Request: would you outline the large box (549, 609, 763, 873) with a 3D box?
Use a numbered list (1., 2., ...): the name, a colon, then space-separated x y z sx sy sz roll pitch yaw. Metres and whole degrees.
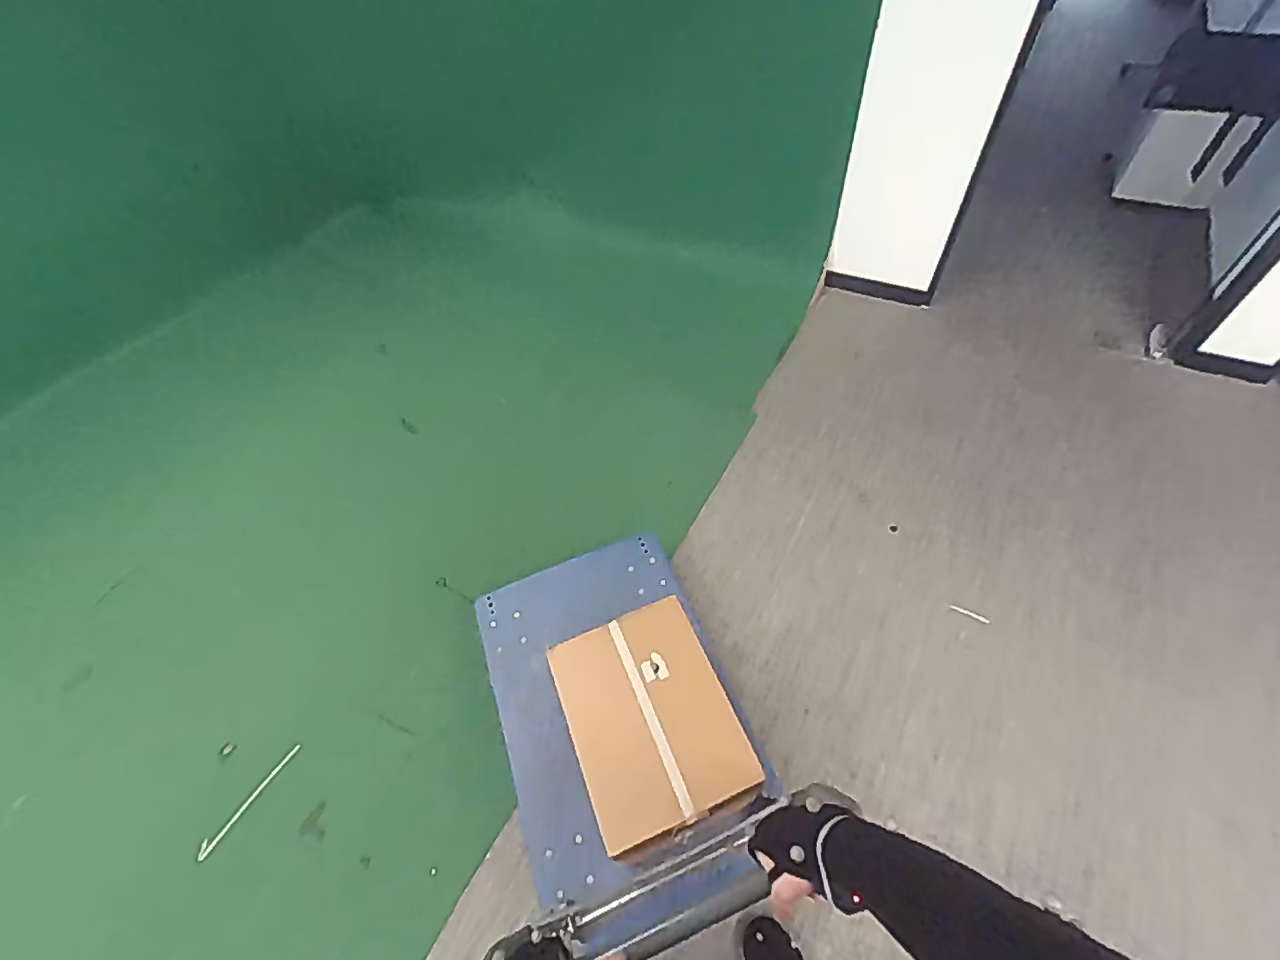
1. large box: 0.032 0.576 1.205 0.320 0.320 0.408 -21 52 -10
